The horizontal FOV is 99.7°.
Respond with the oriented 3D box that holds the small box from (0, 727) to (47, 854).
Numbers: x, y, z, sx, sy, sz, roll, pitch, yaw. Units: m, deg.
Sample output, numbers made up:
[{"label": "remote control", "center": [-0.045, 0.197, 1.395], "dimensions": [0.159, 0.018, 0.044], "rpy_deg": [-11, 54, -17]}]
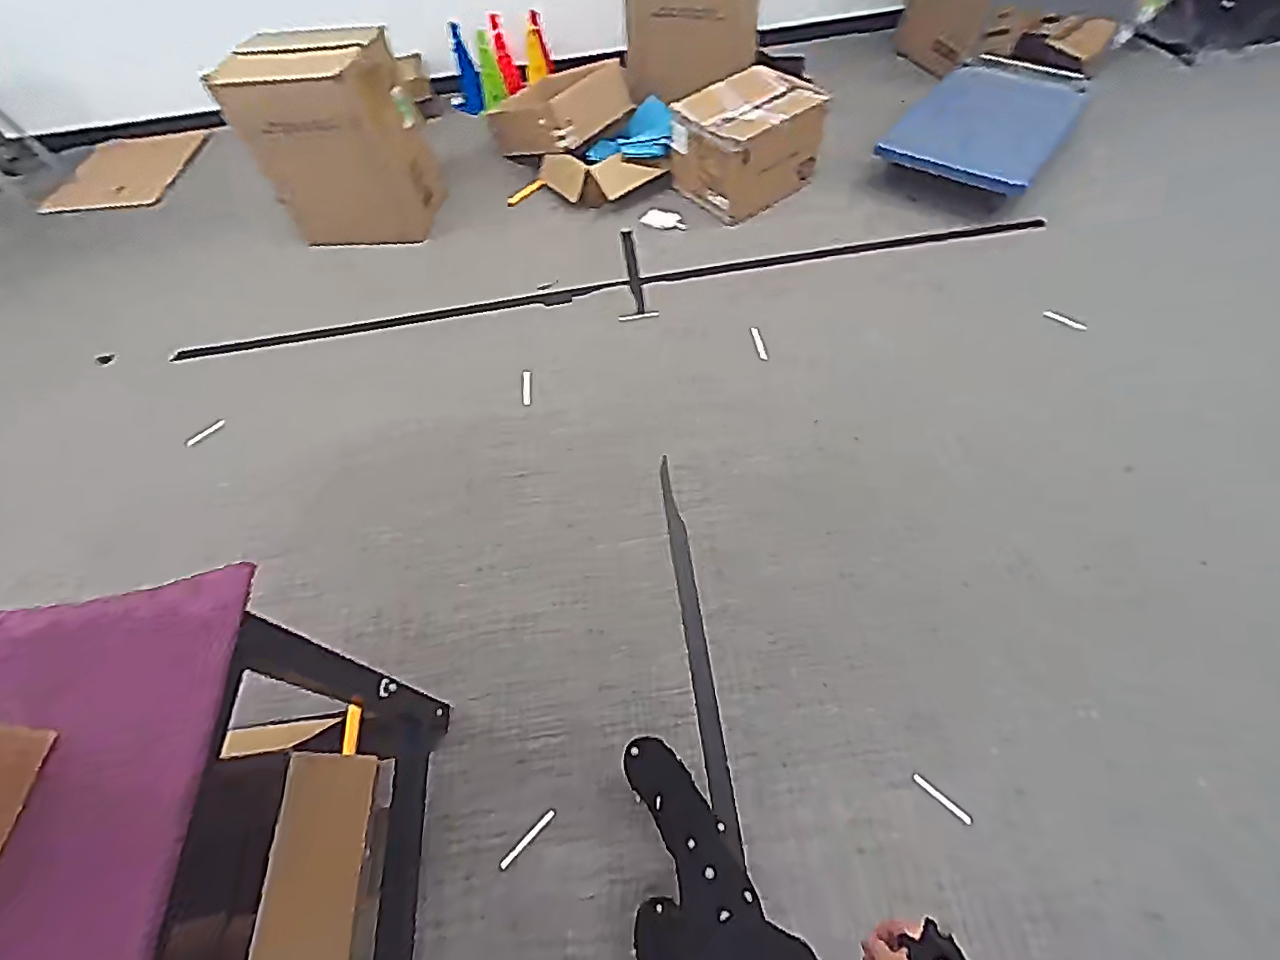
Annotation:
[{"label": "small box", "center": [-0.717, 0.312, 0.483], "dimensions": [0.168, 0.176, 0.179], "rpy_deg": [-5, 58, 3]}]
